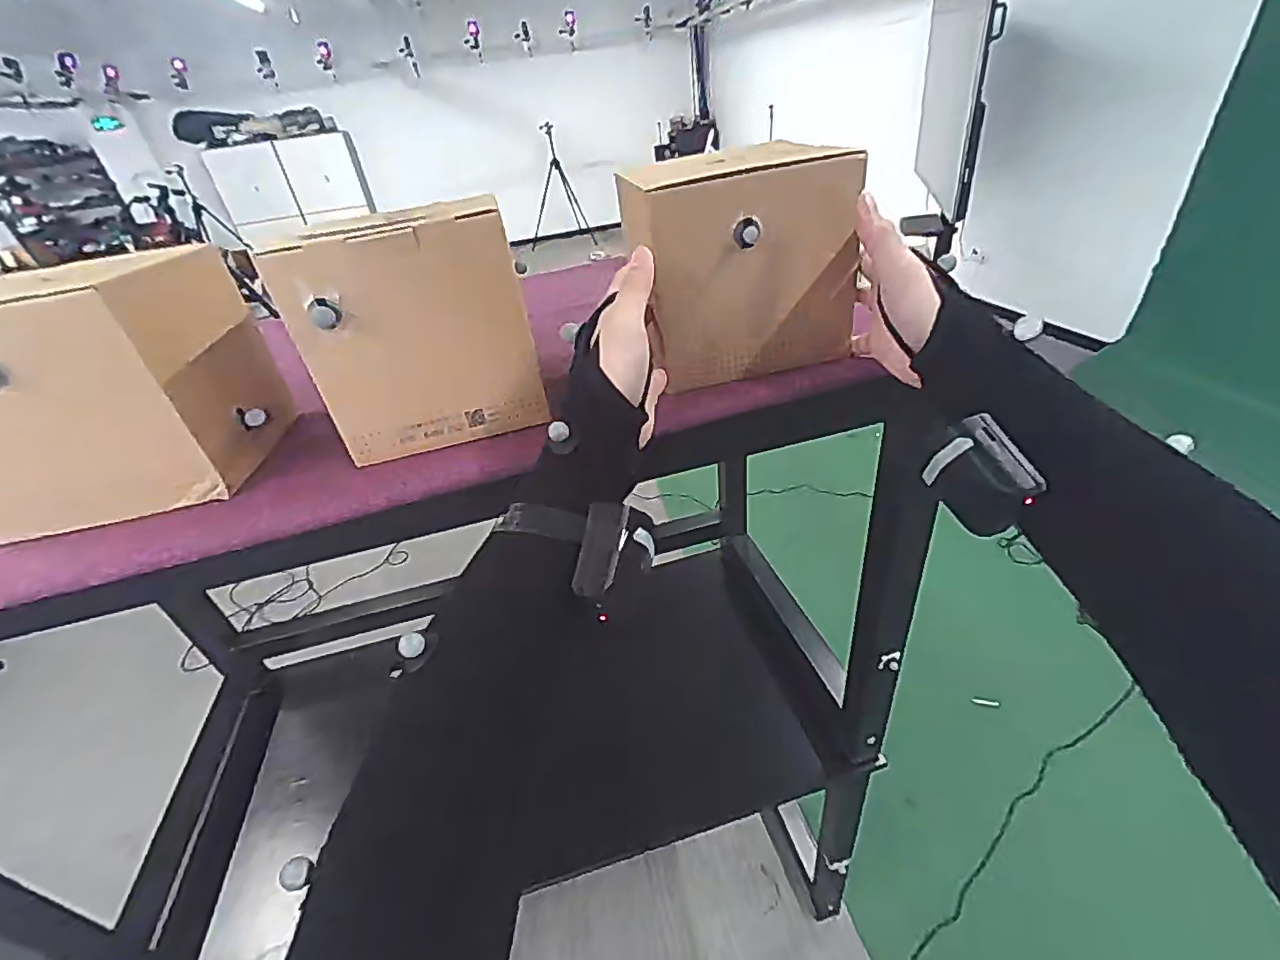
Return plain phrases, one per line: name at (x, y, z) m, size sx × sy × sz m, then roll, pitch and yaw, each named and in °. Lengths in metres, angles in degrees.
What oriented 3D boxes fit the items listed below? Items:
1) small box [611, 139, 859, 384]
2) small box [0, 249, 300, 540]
small box at (0.080, -0.205, 0.506) m, size 0.179 × 0.176 × 0.168 m, roll -12°, pitch 36°, yaw -3°
small box at (-0.425, -0.072, 0.437) m, size 0.179 × 0.176 × 0.168 m, roll -12°, pitch 34°, yaw -5°
